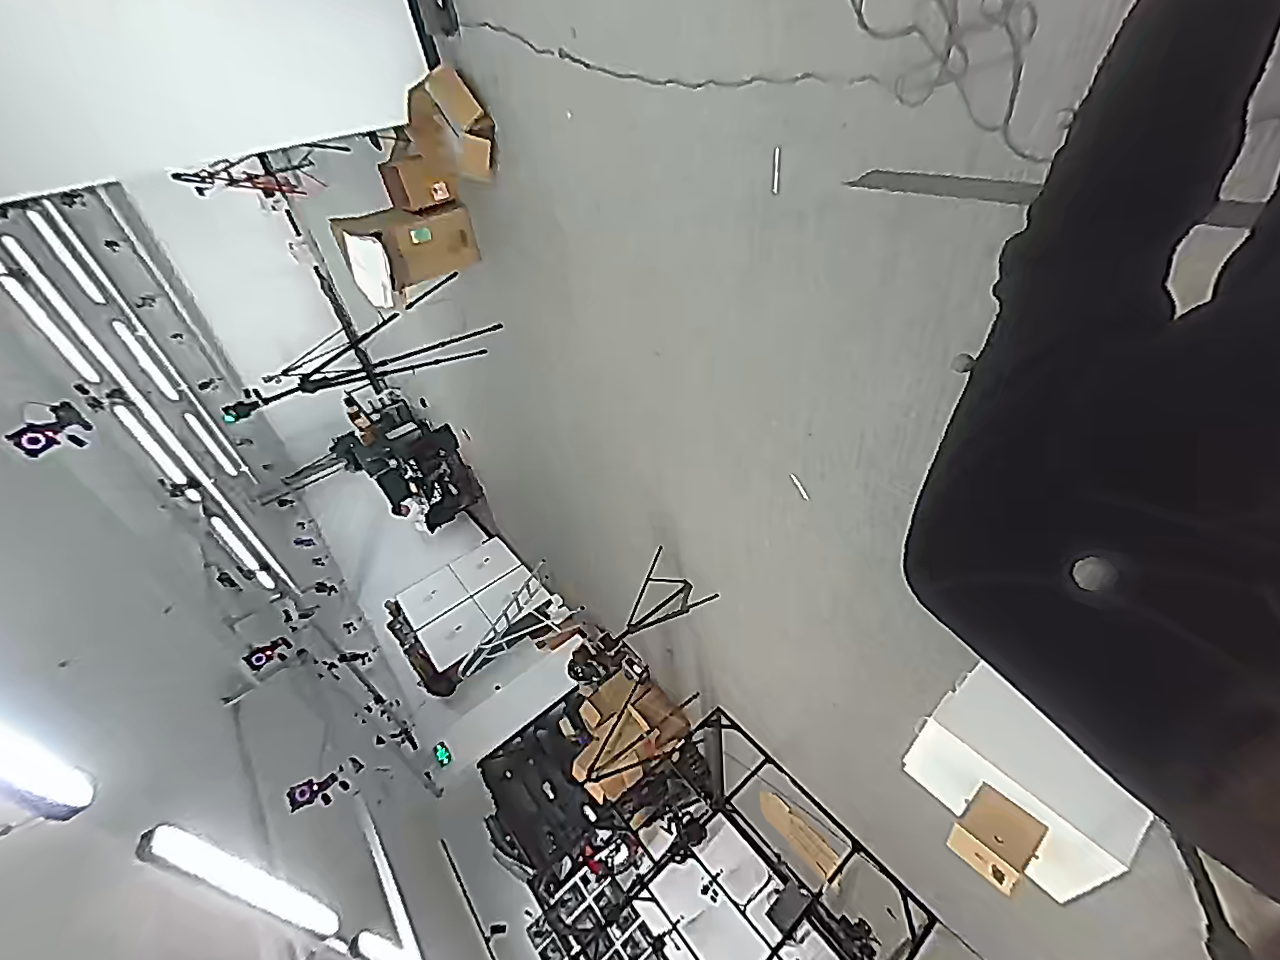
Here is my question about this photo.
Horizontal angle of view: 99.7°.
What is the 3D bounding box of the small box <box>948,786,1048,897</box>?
[{"bbox_3d":[1.029,1.035,1.558,0.179,0.176,0.168,32,144,44],"label":"small box"}]
